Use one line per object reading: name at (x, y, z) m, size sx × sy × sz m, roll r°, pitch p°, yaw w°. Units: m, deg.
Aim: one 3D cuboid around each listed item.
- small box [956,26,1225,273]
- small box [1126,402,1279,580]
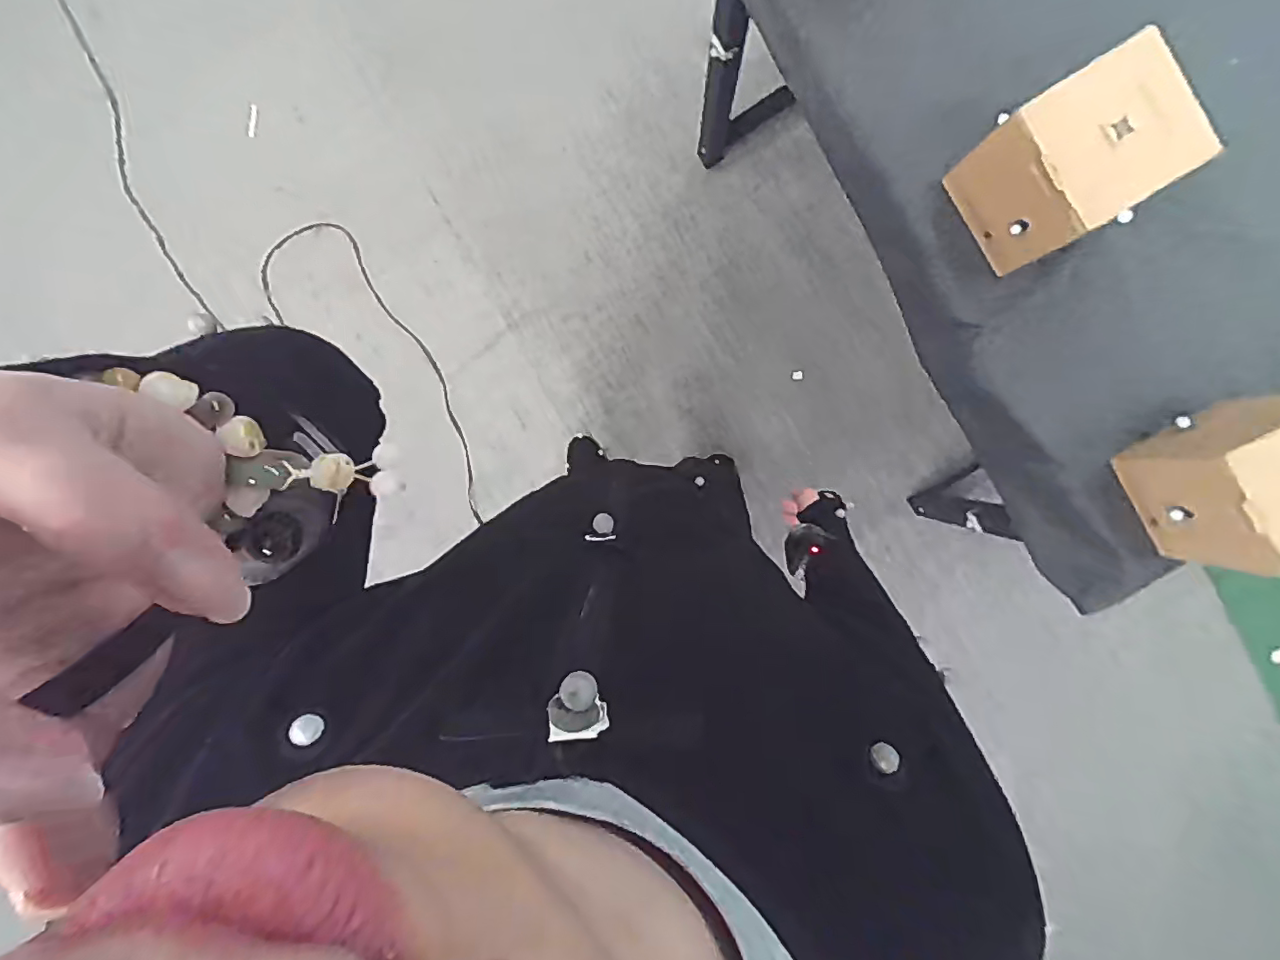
small box at (0.542, -0.395, 0.685) m, size 0.179 × 0.176 × 0.168 m, roll -32°, pitch 93°, yaw 2°
small box at (0.787, 0.010, 0.693) m, size 0.179 × 0.176 × 0.168 m, roll -28°, pitch 90°, yaw 3°
